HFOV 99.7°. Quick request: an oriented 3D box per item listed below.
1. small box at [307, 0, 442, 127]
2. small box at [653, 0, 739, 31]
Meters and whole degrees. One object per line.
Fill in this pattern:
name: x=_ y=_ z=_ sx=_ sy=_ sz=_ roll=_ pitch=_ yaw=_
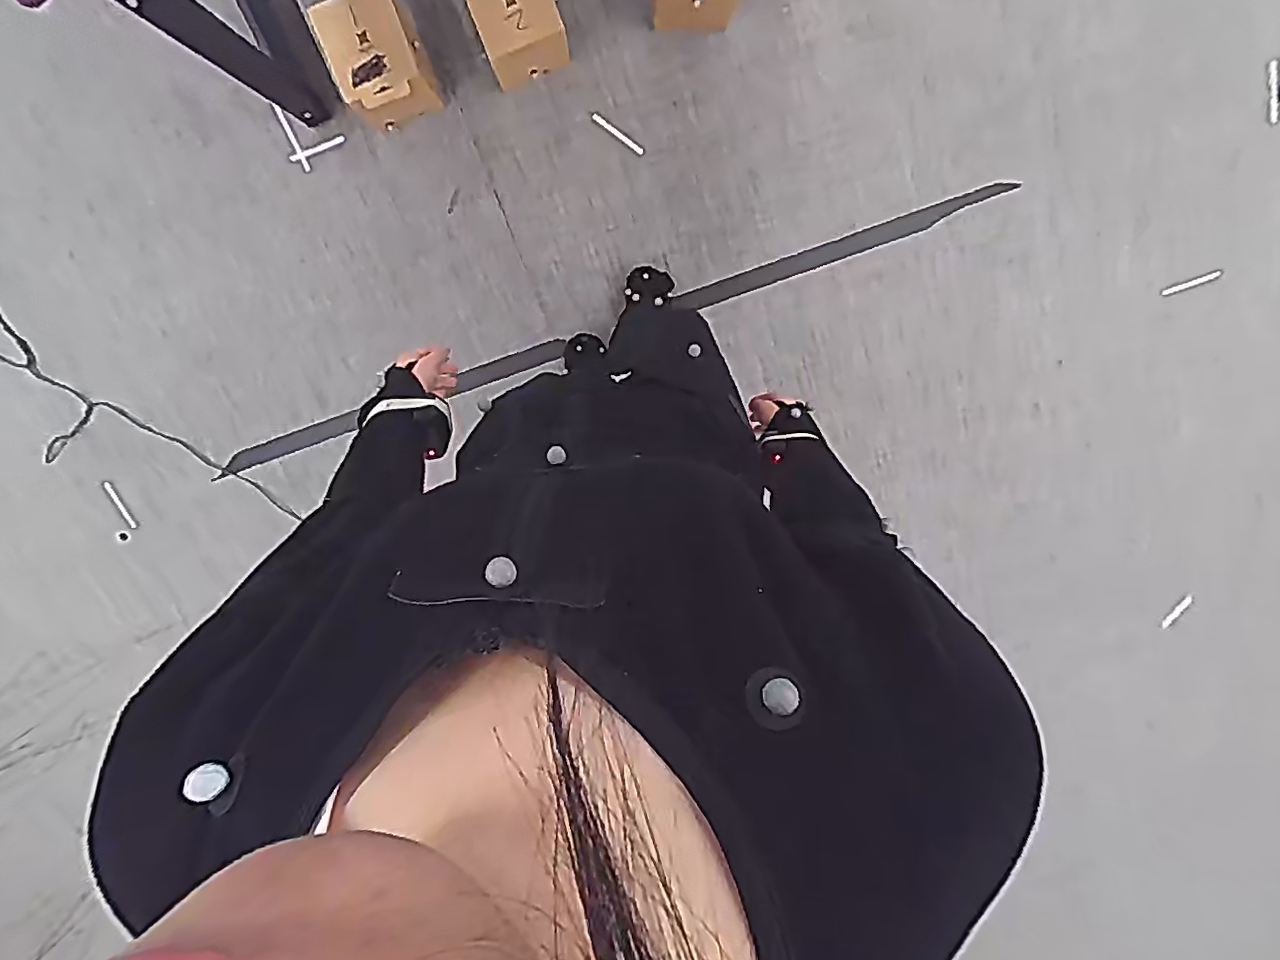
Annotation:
small box: x=-0.547 y=-0.882 z=1.144 sx=0.168 sy=0.176 sz=0.179 roll=-19 pitch=105 yaw=2
small box: x=0.118 y=-1.073 z=1.125 sx=0.179 sy=0.176 sz=0.168 roll=-3 pitch=107 yaw=-1
